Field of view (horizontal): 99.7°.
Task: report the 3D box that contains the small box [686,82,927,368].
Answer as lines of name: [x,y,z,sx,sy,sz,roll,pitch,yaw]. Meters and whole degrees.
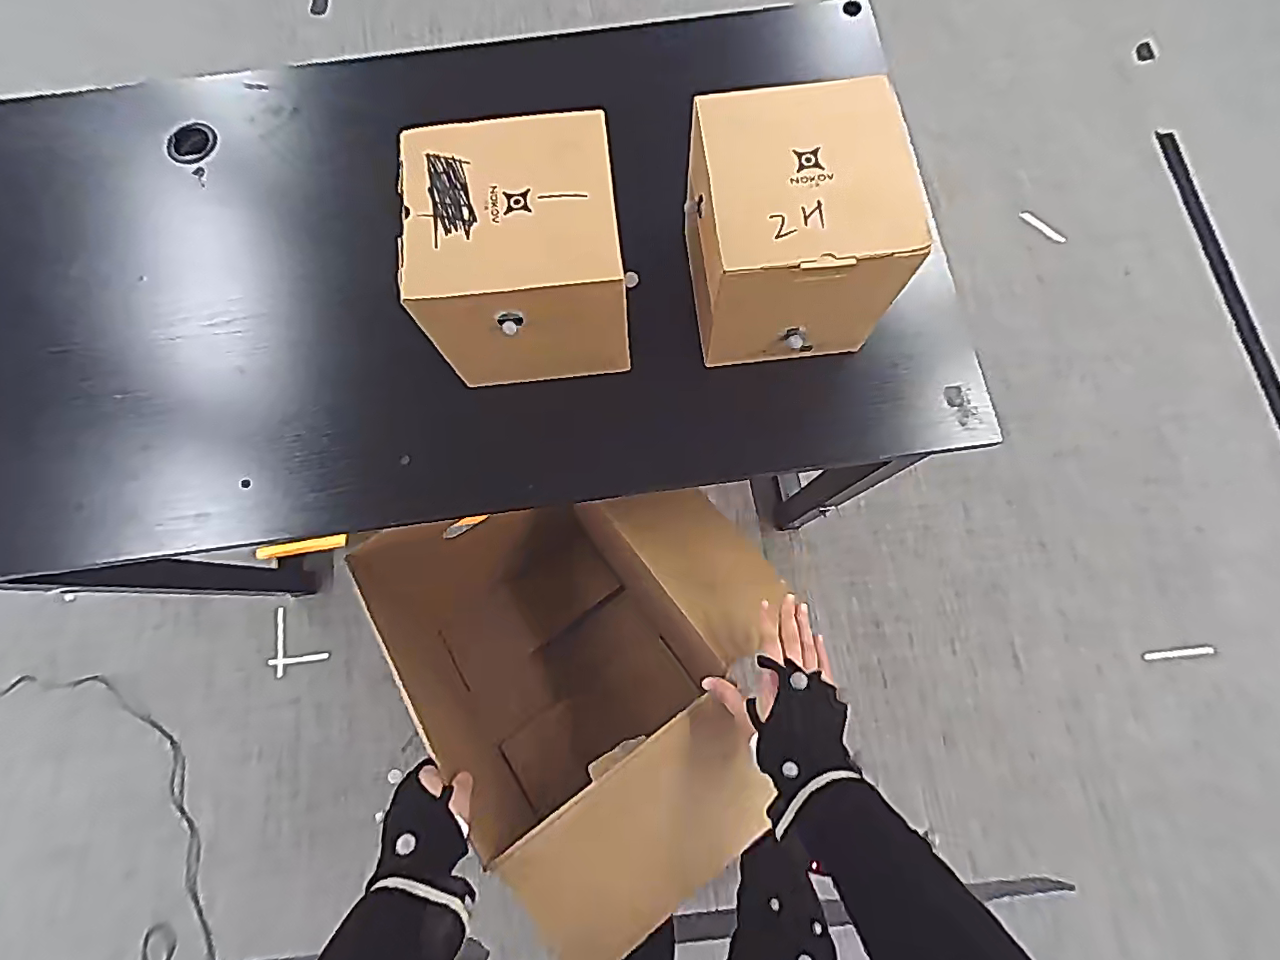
small box: [0.137,-0.228,0.516,0.168,0.176,0.179,-6,76,1]

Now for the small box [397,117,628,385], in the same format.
small box: [-0.107,-0.201,0.516,0.179,0.176,0.168,-6,76,-1]
